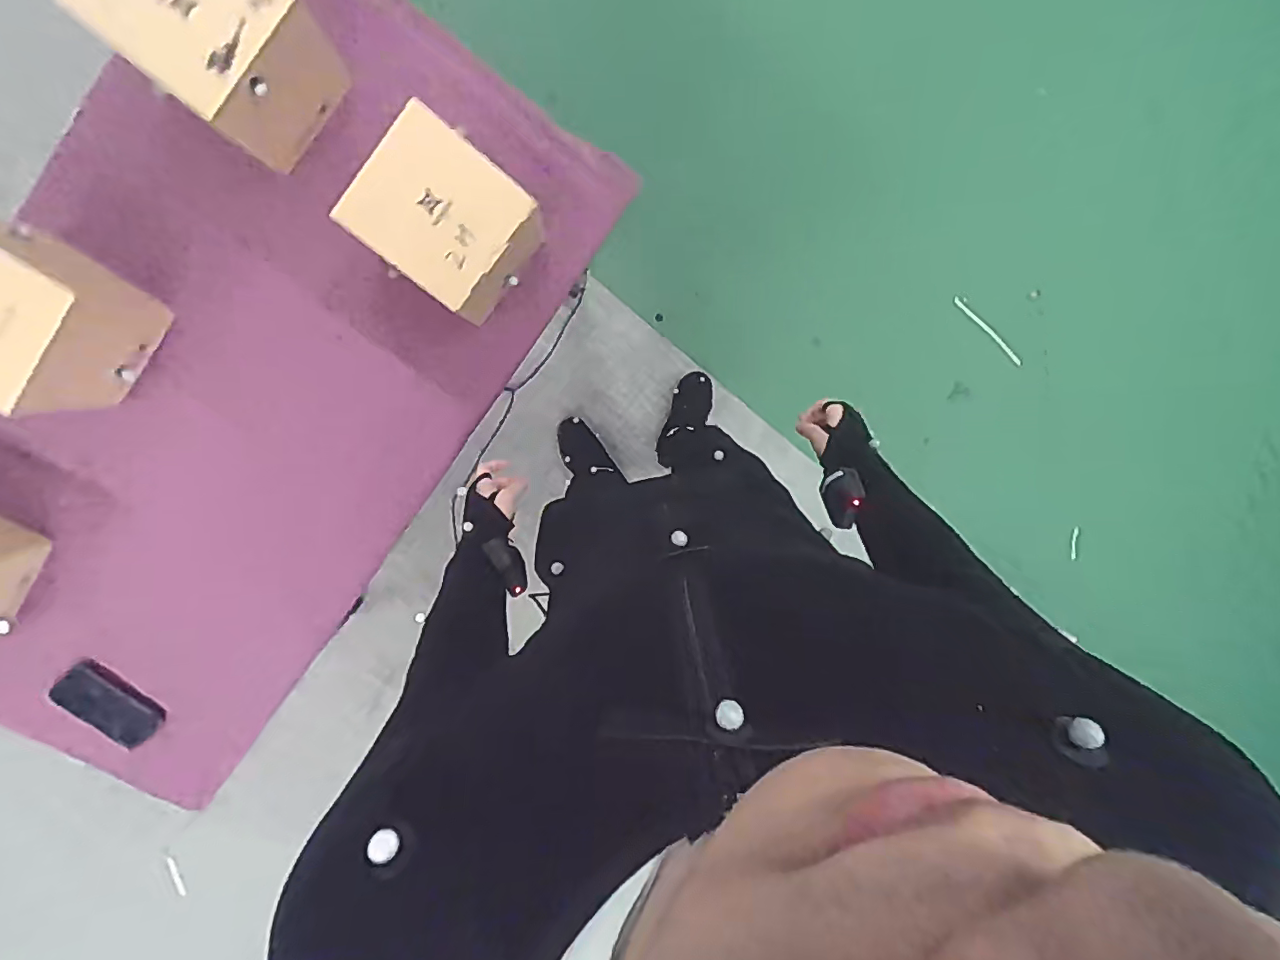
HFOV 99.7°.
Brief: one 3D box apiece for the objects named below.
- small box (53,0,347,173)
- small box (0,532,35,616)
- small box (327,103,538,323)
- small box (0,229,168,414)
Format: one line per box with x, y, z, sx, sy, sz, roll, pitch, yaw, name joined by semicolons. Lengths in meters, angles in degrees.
-0.500;-0.514;0.647;0.179;0.176;0.168;38;93;-11;small box
-0.960;0.138;0.686;0.179;0.176;0.168;31;93;-11;small box
-0.253;-0.325;0.707;0.179;0.176;0.168;38;94;-12;small box
-0.758;-0.194;0.664;0.179;0.176;0.168;35;94;-12;small box
